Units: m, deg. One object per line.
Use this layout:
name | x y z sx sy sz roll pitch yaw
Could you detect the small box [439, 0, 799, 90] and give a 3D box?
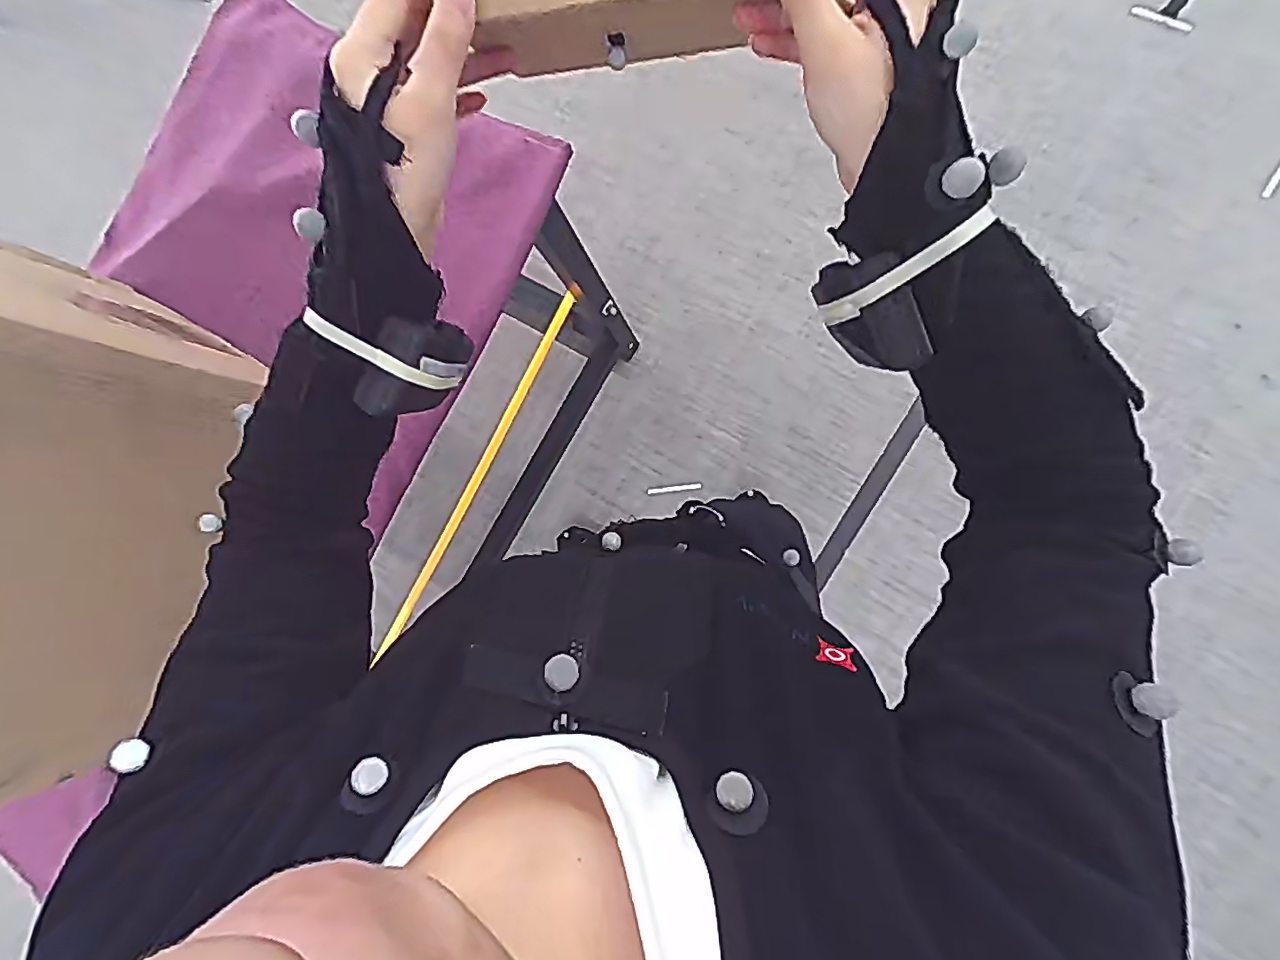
small box | -0.014 -0.329 0.290 0.179 0.176 0.168 -5 118 5
